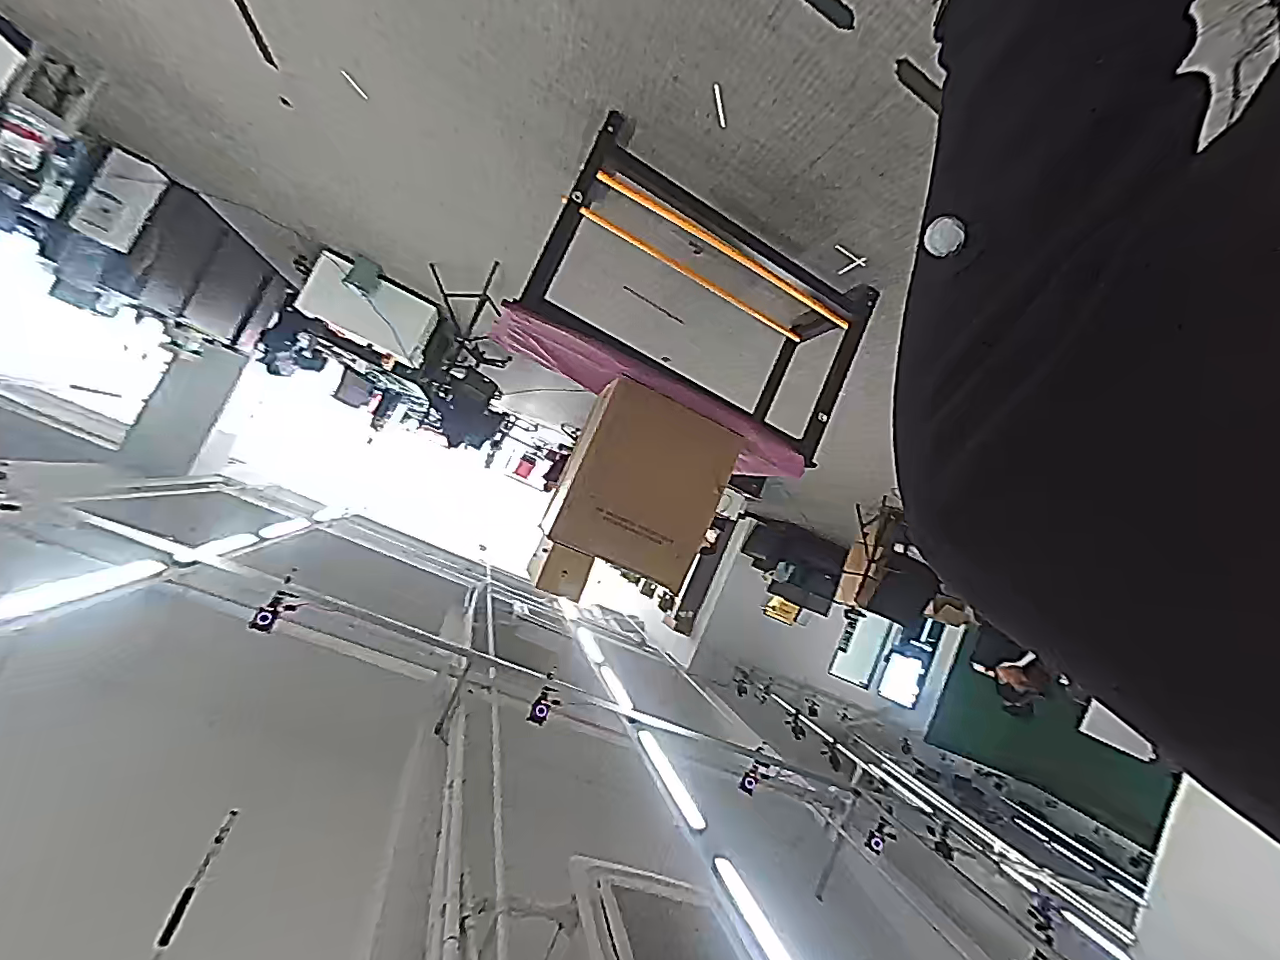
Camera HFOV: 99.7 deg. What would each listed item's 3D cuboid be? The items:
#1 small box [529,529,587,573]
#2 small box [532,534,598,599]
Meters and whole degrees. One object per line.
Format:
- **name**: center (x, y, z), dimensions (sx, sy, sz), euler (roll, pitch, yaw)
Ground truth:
- **small box**: center (-0.320, 0.303, 2.117), dimensions (0.168, 0.176, 0.179), euler (25, 174, -16)
- **small box**: center (-0.268, 0.305, 1.908), dimensions (0.168, 0.176, 0.179), euler (25, 173, -16)
